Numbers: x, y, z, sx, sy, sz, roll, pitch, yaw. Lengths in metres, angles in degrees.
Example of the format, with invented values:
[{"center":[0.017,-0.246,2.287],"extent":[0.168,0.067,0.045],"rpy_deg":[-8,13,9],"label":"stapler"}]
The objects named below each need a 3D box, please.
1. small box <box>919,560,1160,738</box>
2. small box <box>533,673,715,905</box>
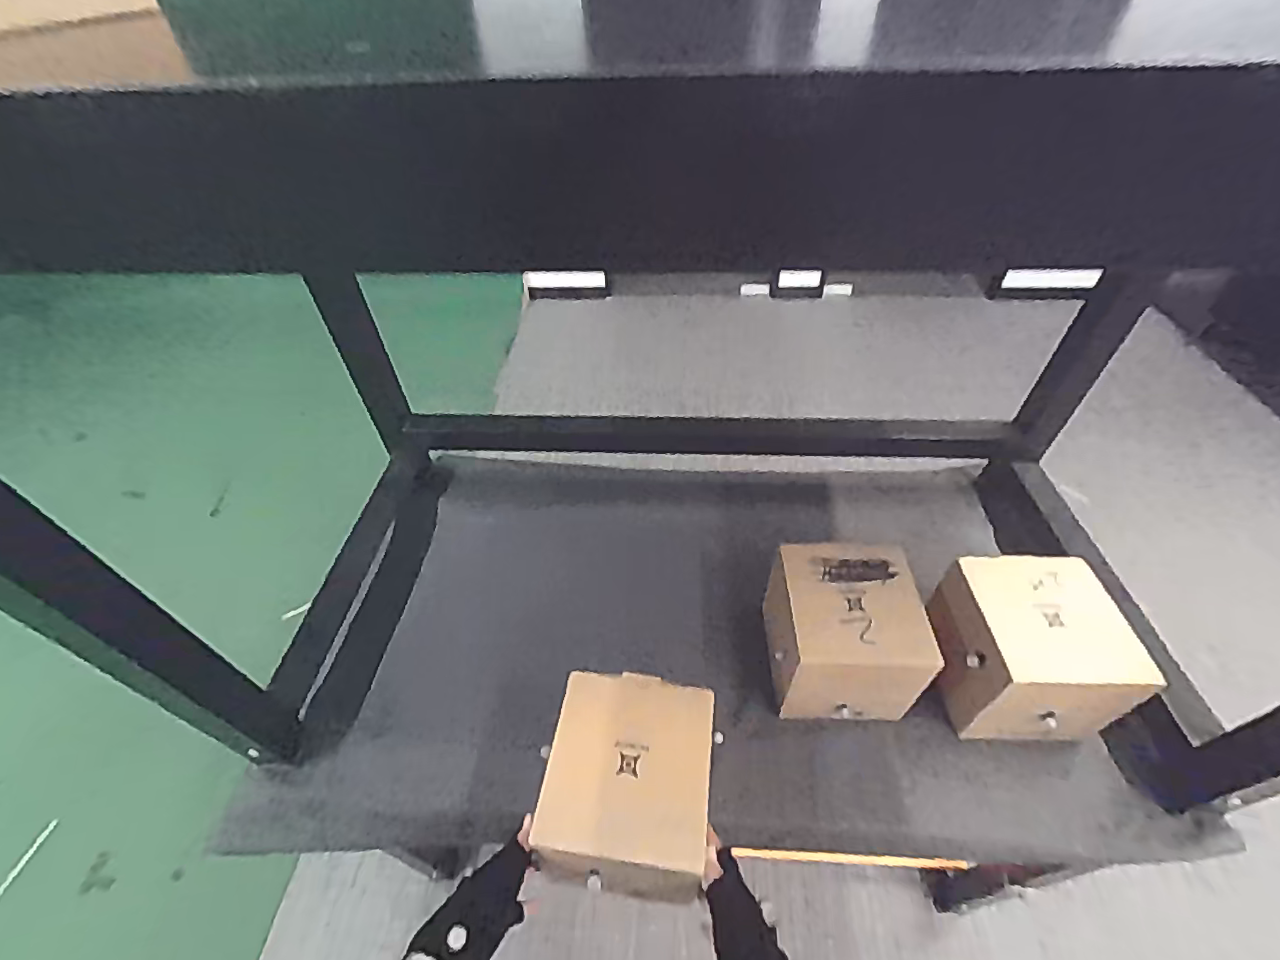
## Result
[{"center":[0.502,0.225,0.716],"extent":[0.168,0.176,0.179],"rpy_deg":[0,44,2],"label":"small box"},{"center":[-0.008,0.348,0.610],"extent":[0.168,0.176,0.179],"rpy_deg":[6,43,6],"label":"small box"}]
